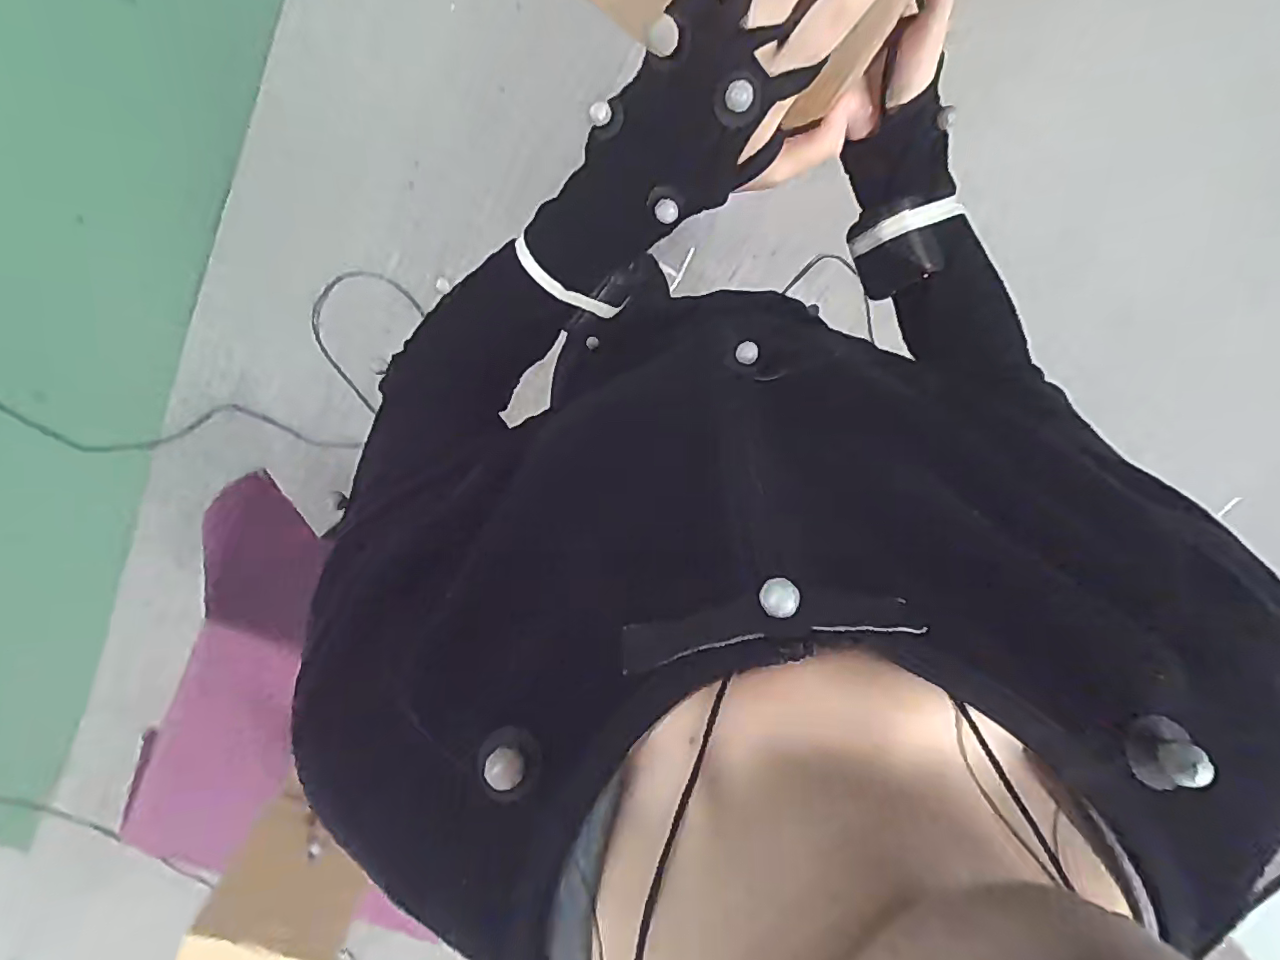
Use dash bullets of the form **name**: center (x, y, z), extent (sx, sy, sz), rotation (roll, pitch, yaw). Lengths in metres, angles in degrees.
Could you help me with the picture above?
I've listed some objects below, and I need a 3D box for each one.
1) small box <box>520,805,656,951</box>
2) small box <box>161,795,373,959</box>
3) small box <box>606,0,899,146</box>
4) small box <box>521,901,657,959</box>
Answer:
- **small box**: center (-0.088, 0.721, 0.962), extent (0.179, 0.176, 0.168), rotation (27, 109, -11)
- **small box**: center (-0.483, 0.564, 0.712), extent (0.168, 0.176, 0.179), rotation (26, 110, -11)
- **small box**: center (0.080, -0.319, 0.259), extent (0.176, 0.168, 0.179), rotation (38, 62, -5)
- **small box**: center (-0.082, 0.780, 0.811), extent (0.179, 0.176, 0.168), rotation (27, 110, -10)
